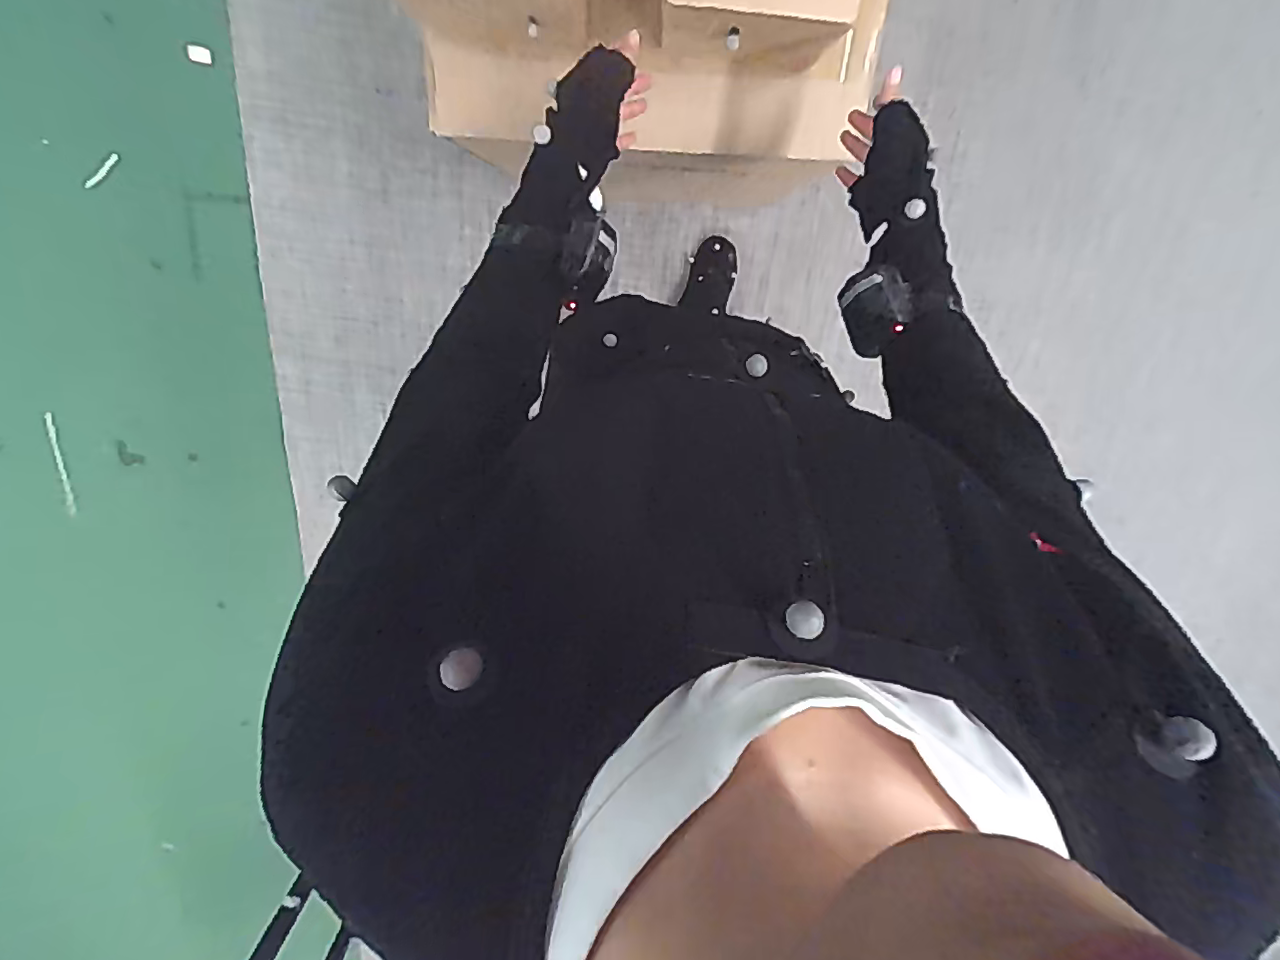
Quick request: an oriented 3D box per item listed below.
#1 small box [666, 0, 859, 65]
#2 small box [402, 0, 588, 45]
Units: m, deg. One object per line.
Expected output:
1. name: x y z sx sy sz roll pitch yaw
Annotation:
1. small box: 0.120 -0.528 0.522 0.179 0.176 0.168 6 116 -1
2. small box: -0.142 -0.550 0.523 0.179 0.176 0.168 4 114 1
